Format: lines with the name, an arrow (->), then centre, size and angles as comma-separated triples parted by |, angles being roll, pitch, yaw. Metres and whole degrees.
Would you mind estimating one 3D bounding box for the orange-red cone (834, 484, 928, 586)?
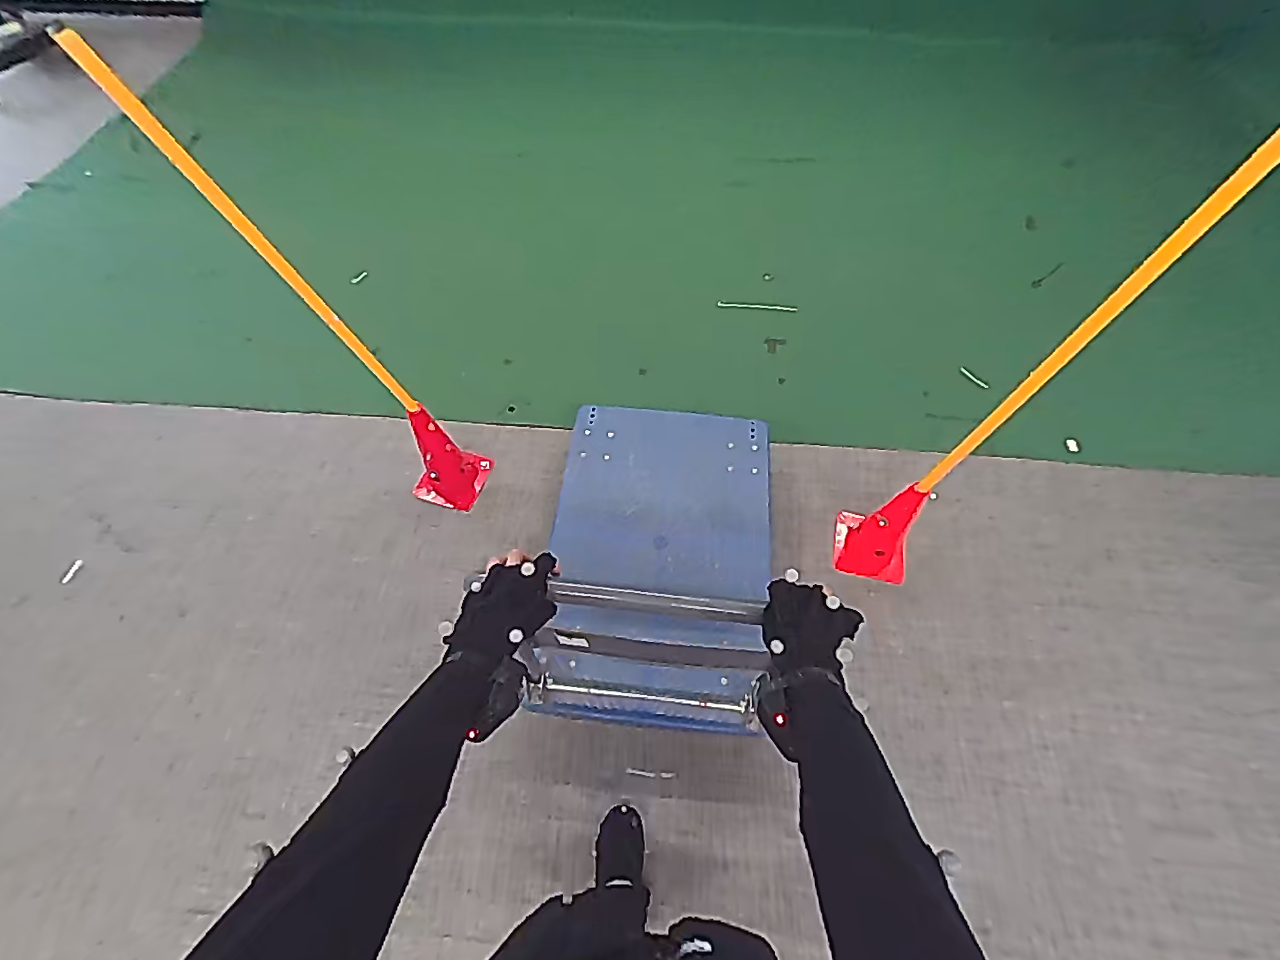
orange-red cone -> 0.678, 0.117, 1.451 | 0.198, 0.360, 0.199 | 13, 60, 9
